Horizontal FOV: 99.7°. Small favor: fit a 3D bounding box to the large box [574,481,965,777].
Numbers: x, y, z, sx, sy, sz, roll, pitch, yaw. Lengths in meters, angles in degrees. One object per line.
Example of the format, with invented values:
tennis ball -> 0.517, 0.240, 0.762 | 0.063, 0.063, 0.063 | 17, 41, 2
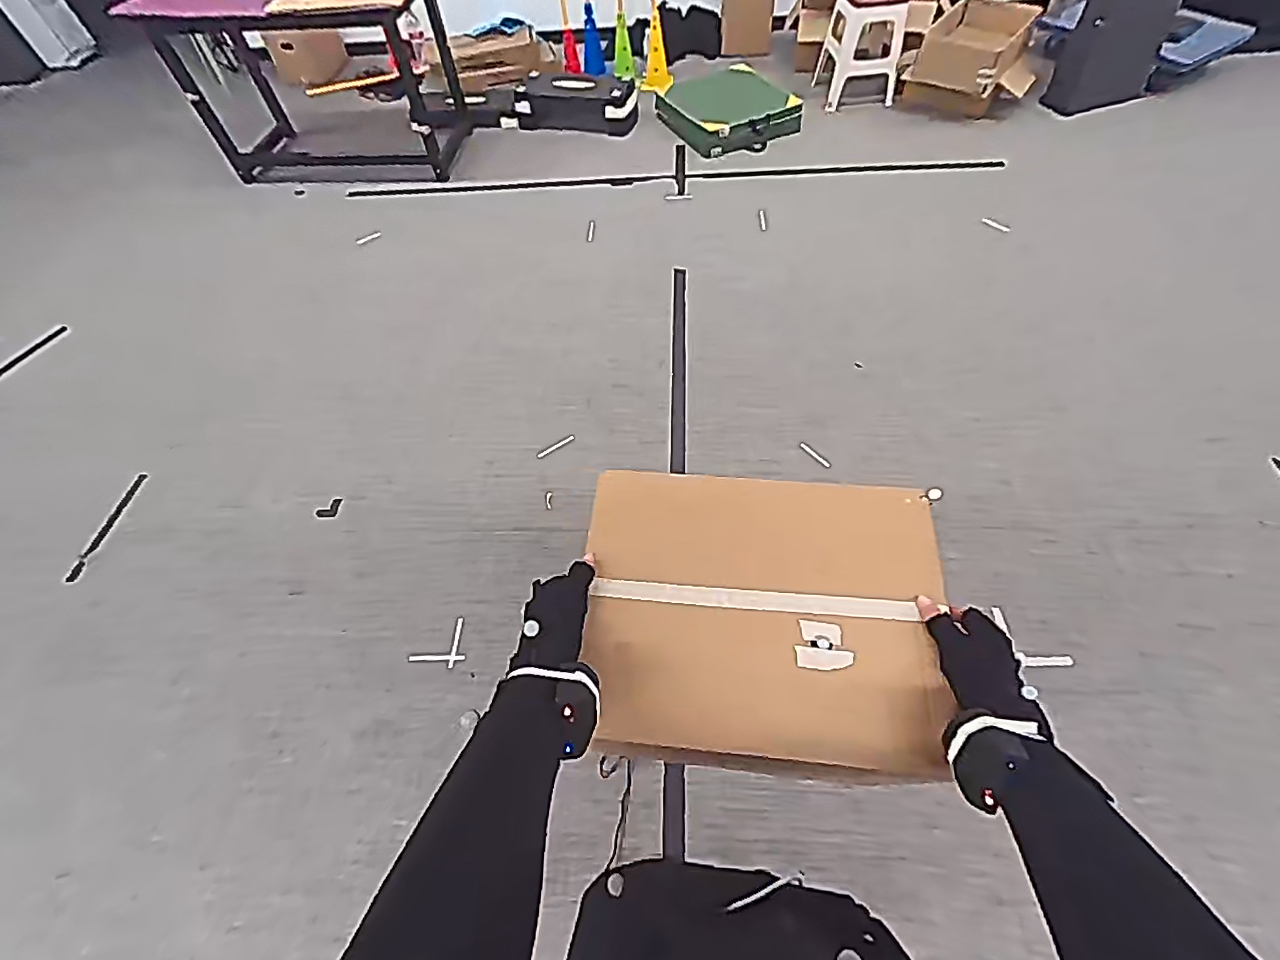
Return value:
large box -> 0.145, 0.217, 0.750 | 0.408, 0.320, 0.320 | 4, 62, 5
